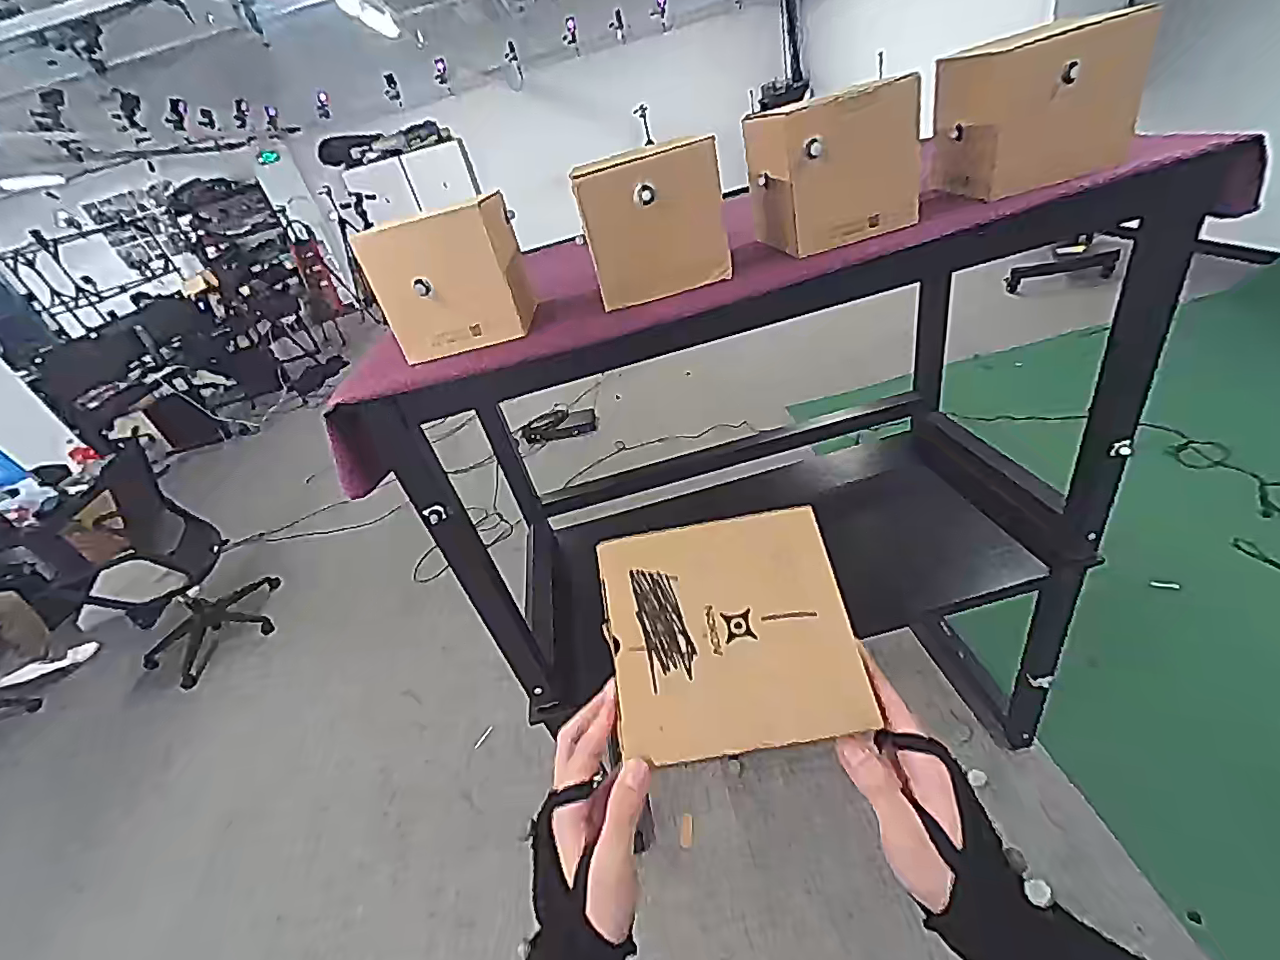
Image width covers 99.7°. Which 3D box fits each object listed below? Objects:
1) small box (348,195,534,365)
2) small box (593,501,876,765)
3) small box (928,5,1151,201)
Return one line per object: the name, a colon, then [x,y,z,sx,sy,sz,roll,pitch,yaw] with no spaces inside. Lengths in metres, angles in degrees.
small box: [-0.255,-0.273,0.747,0.168,0.176,0.179,-14,32,4]
small box: [0.067,0.139,0.459,0.179,0.176,0.168,-10,62,1]
small box: [0.514,-0.493,0.728,0.179,0.176,0.168,-14,35,5]
